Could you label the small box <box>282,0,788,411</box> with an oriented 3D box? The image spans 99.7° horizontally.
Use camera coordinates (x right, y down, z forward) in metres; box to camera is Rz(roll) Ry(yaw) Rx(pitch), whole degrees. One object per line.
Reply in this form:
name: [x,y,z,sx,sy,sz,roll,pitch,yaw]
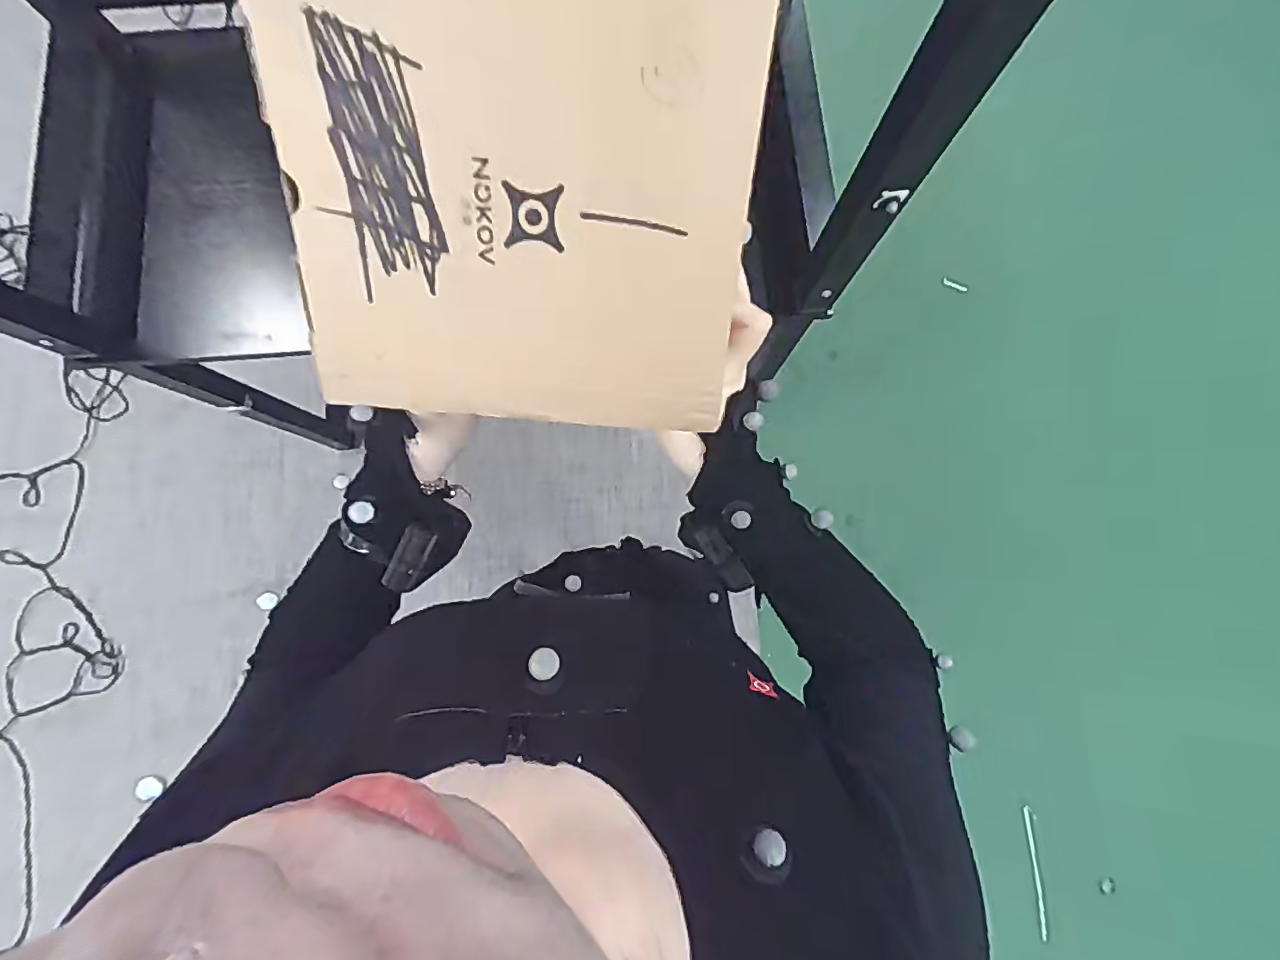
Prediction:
small box: [-0.038,-0.148,0.280,0.179,0.176,0.168,6,117,0]
